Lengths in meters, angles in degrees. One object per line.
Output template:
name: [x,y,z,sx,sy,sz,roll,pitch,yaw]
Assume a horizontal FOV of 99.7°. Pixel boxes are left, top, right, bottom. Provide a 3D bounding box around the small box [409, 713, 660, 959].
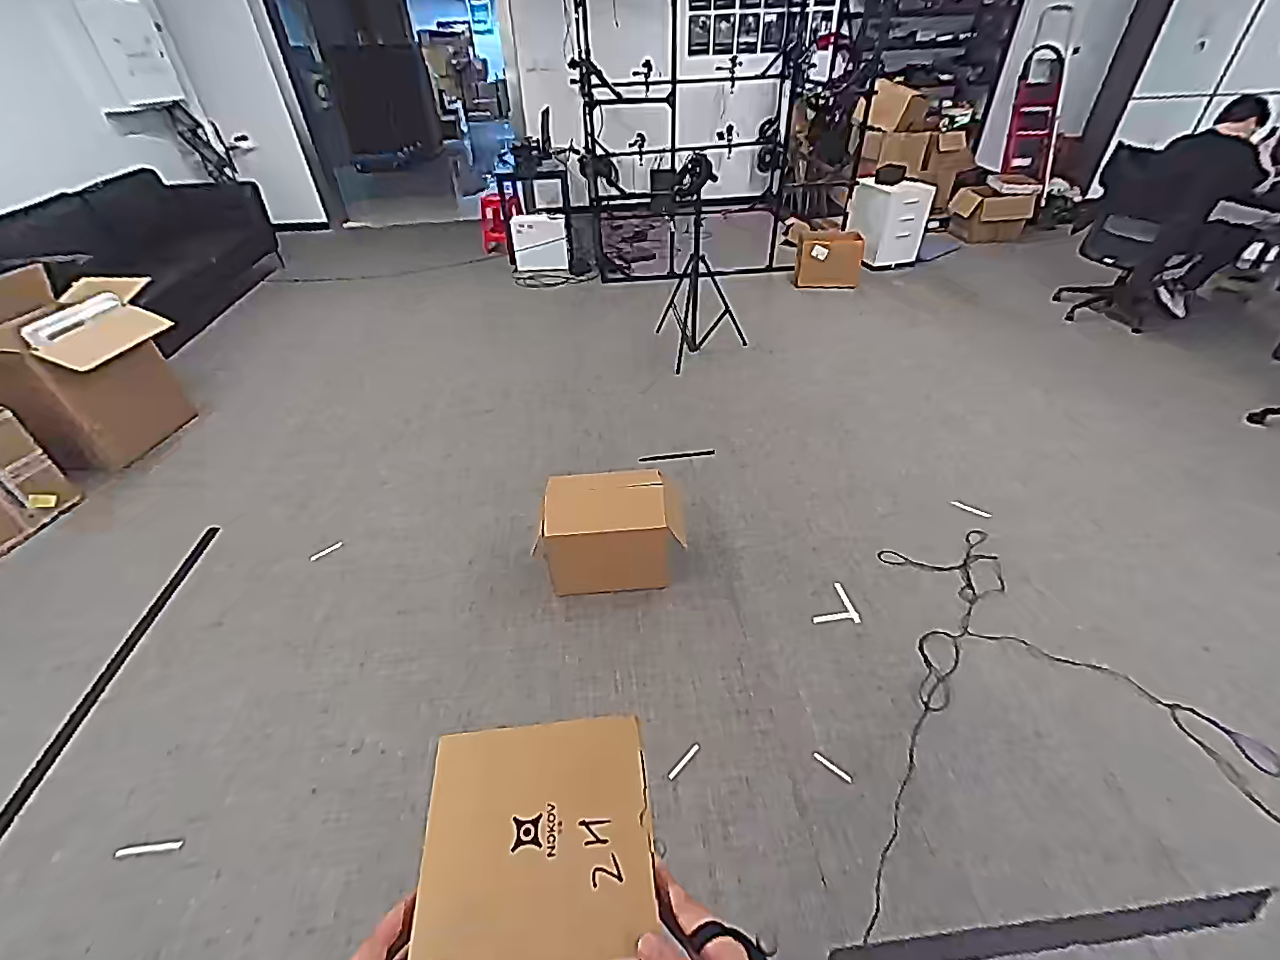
small box: [-0.079,0.330,0.480,0.179,0.176,0.168,-4,46,-5]
